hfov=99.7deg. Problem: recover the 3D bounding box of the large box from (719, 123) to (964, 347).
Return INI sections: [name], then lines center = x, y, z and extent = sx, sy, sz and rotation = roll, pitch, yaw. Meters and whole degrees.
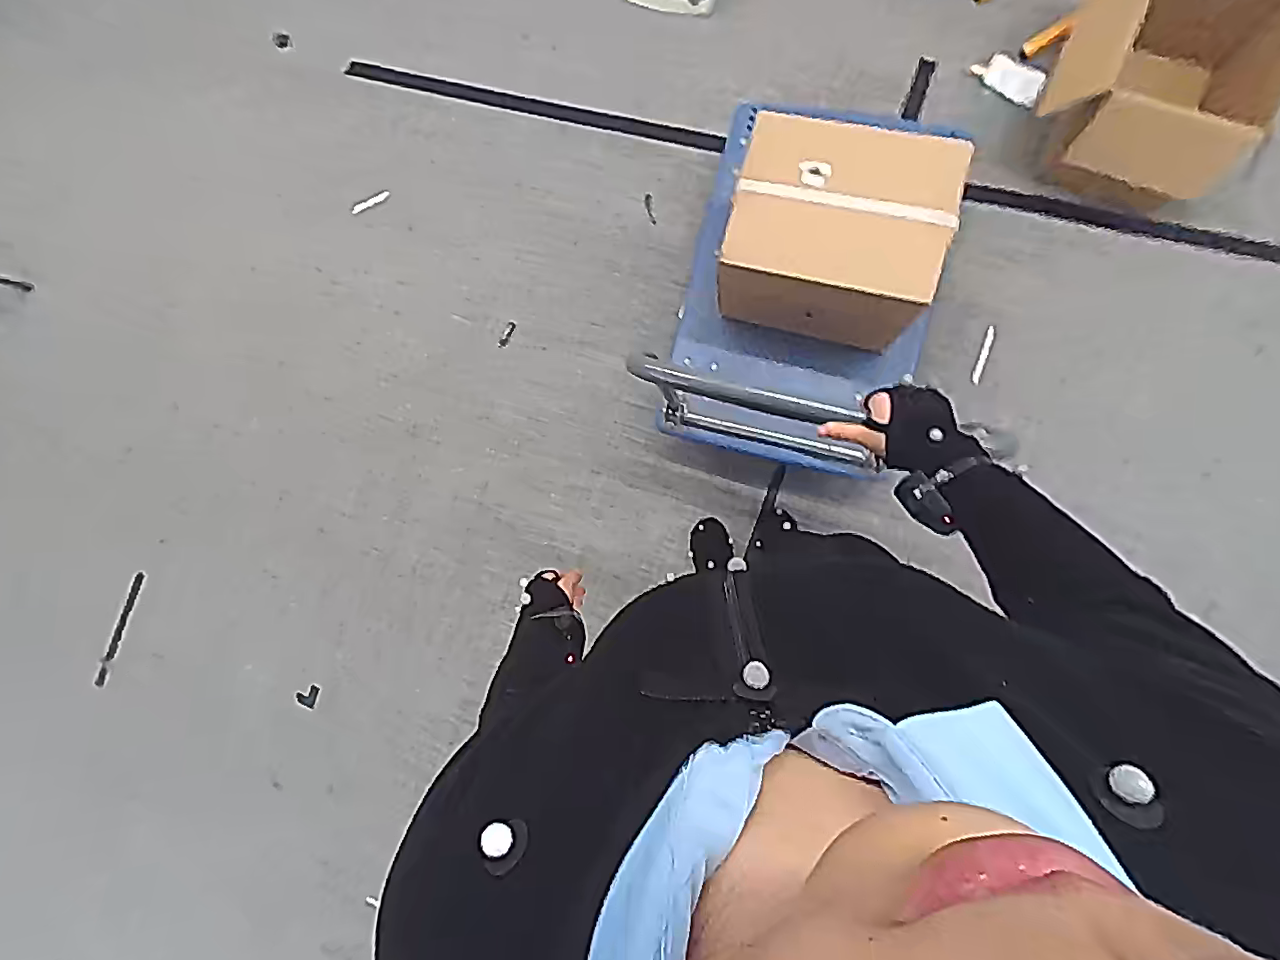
[large box]
center = 0.411, -0.516, 1.191
extent = 0.408, 0.320, 0.320
rotation = 15, 88, 11
